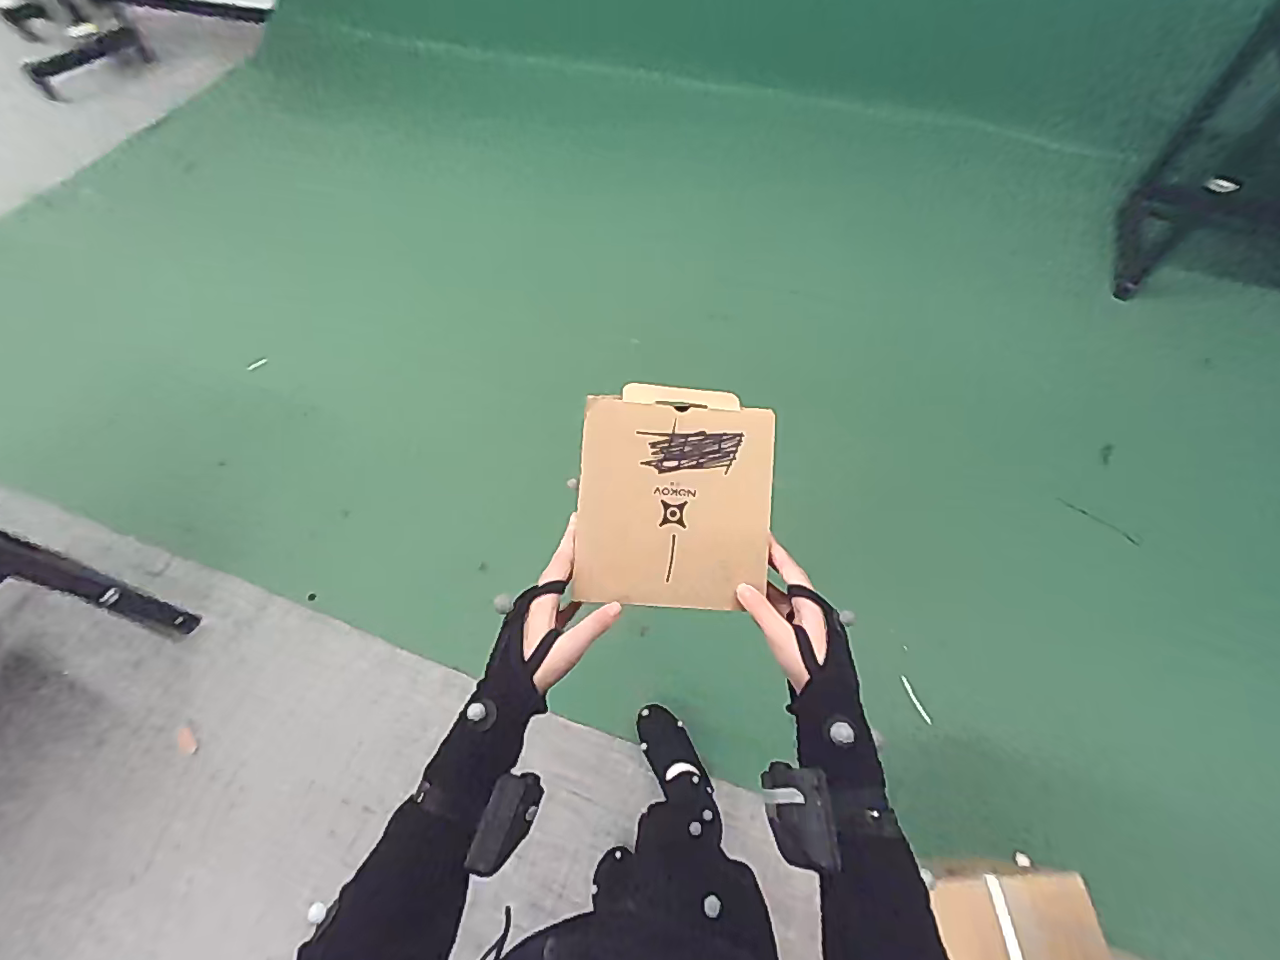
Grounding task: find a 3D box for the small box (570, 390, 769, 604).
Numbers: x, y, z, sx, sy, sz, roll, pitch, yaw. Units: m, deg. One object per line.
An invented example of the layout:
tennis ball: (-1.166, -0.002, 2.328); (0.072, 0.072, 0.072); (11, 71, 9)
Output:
small box: (0.022, 0.021, 0.540); (0.168, 0.176, 0.179); (4, 85, -3)
